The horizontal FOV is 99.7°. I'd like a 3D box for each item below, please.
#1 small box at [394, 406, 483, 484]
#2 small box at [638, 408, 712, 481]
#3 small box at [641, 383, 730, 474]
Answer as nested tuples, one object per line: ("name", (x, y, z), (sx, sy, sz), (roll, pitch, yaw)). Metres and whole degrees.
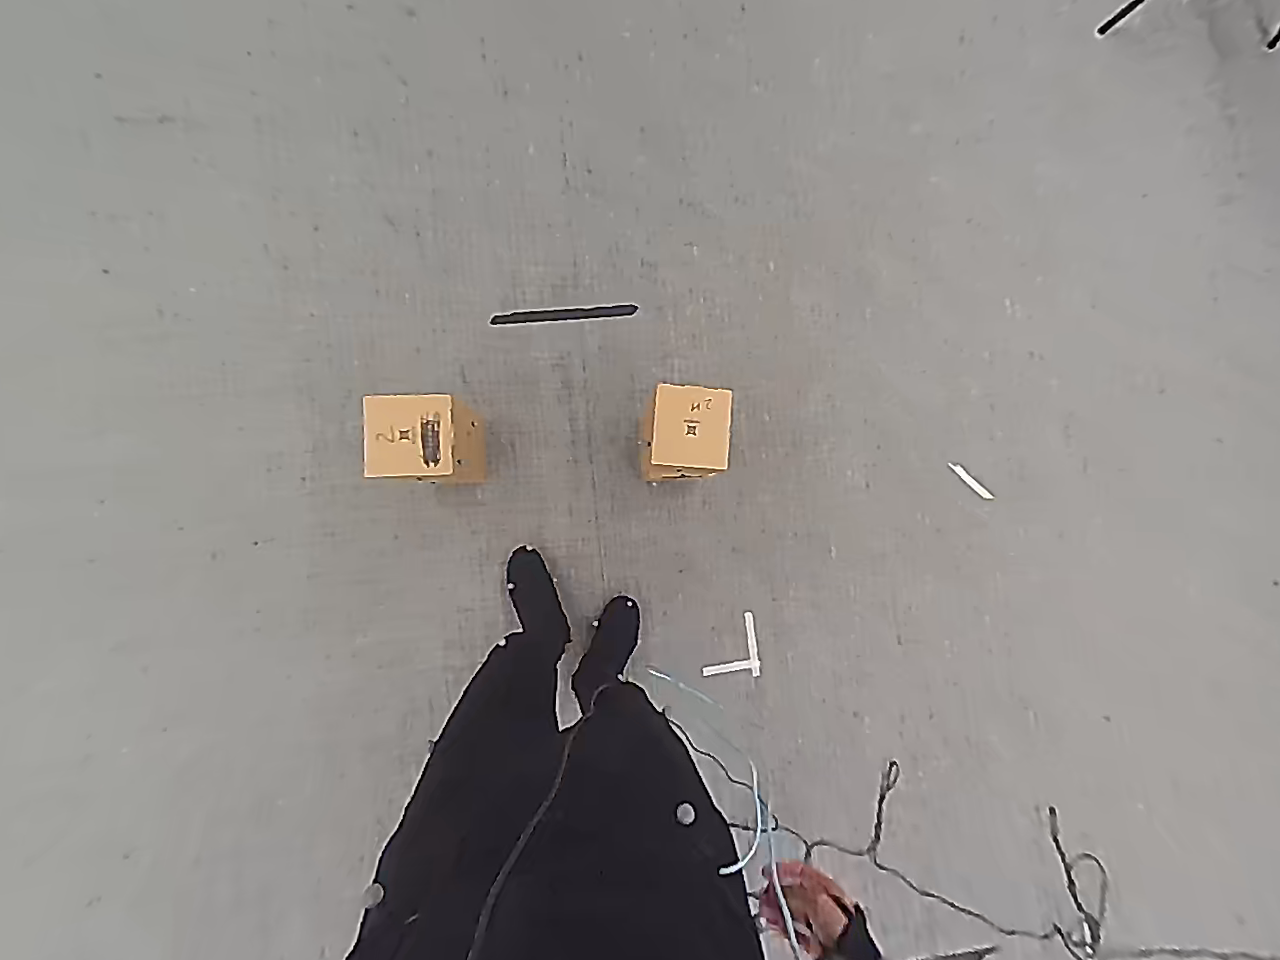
("small box", (-0.485, -0.080, 1.322), (0.168, 0.176, 0.179), (-3, 87, -6))
("small box", (0.086, -0.088, 1.381), (0.168, 0.176, 0.179), (-1, 87, -7))
("small box", (0.096, -0.107, 1.217), (0.168, 0.176, 0.179), (5, 87, -7))
